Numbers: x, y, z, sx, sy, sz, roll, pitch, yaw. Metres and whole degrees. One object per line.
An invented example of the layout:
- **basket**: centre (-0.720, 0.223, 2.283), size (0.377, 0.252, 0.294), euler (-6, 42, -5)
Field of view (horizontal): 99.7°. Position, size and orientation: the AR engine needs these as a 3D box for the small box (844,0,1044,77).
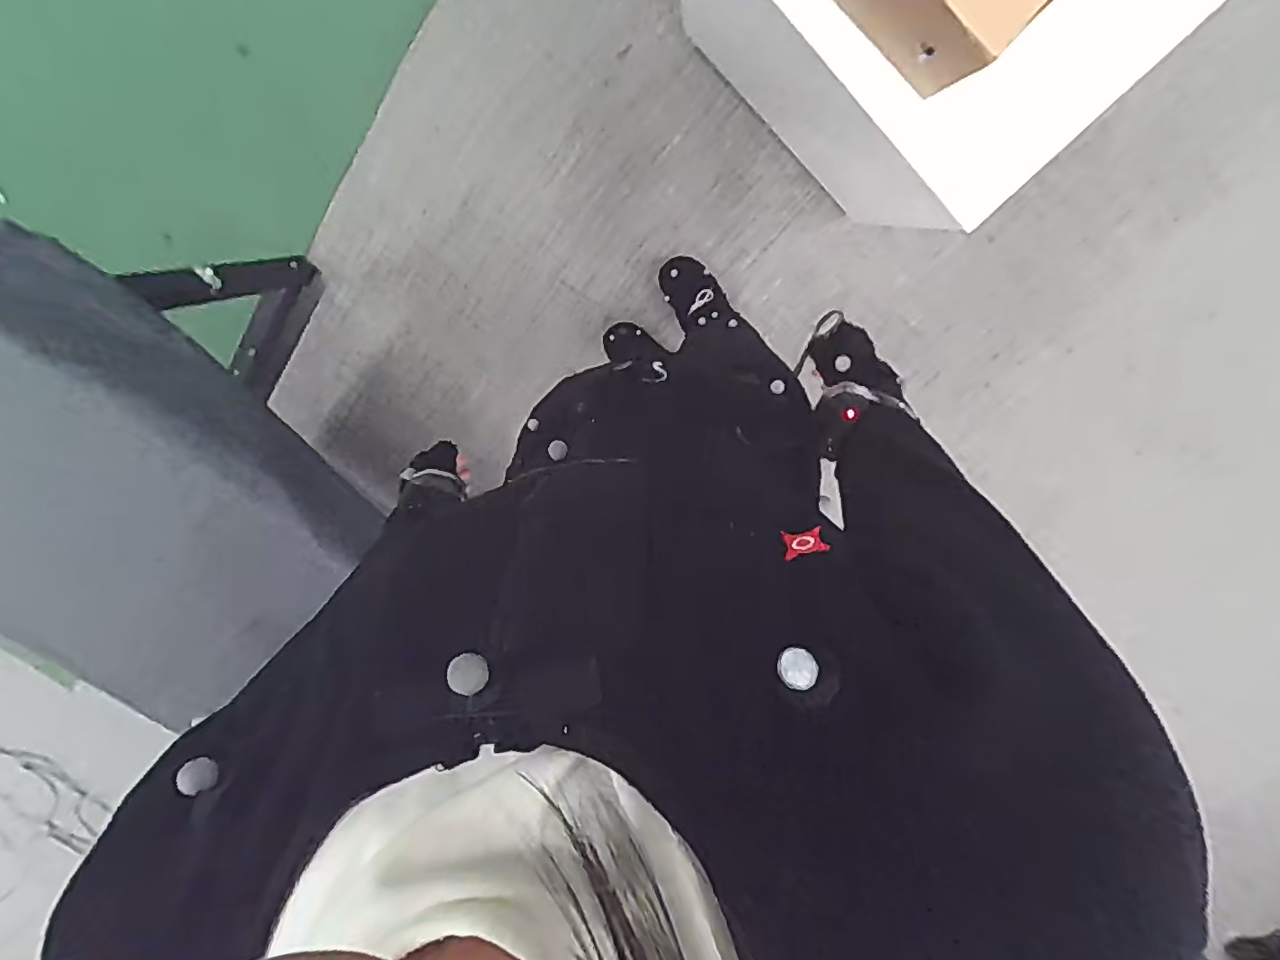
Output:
- **small box**: centre (0.288, -0.495, 0.470), size (0.179, 0.176, 0.168), euler (38, 114, -10)
